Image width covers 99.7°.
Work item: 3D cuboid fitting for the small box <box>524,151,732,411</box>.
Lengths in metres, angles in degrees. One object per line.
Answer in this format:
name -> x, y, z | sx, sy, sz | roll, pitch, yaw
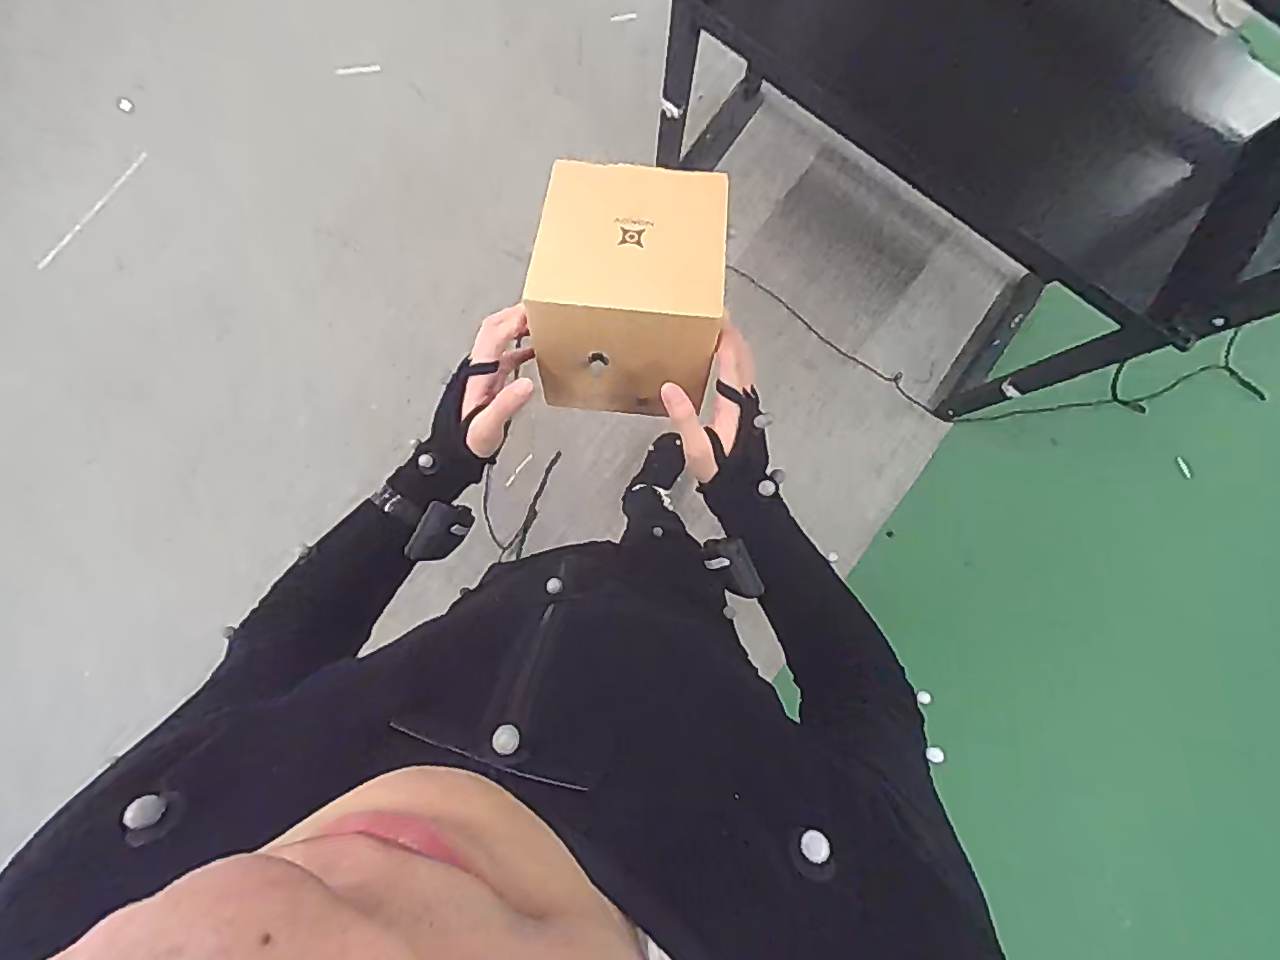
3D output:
small box -> -0.006, -0.186, 0.536 | 0.168, 0.176, 0.179 | 5, 65, 1
